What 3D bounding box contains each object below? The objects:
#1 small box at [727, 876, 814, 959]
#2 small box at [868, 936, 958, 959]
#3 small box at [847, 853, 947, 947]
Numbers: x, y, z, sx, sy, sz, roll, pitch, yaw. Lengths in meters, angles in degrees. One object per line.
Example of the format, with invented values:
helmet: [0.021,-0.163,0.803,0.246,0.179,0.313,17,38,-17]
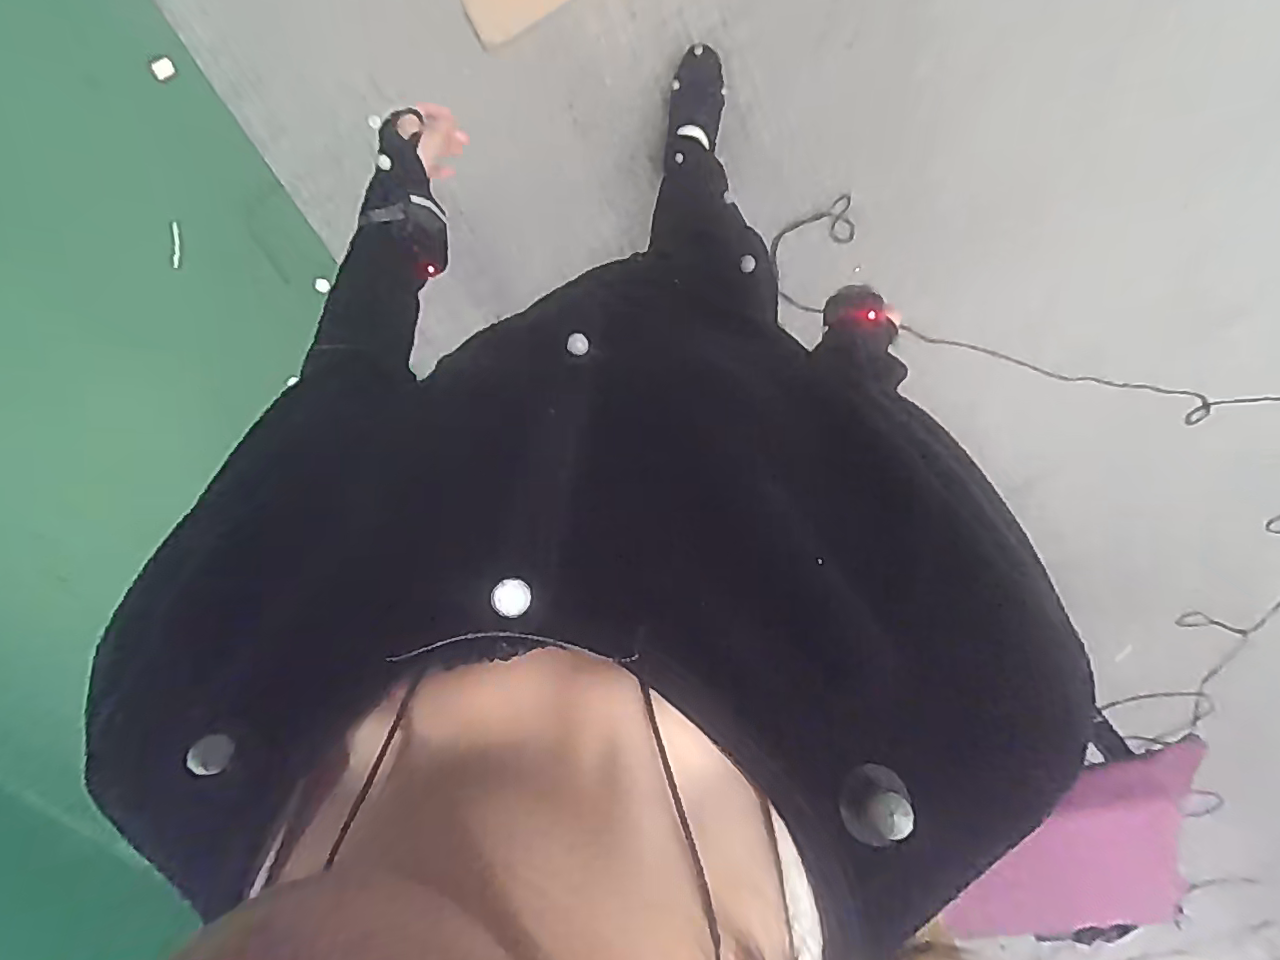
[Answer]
small box: [0.328,1.129,1.363,0.168,0.176,0.179,-19,120,13]
small box: [0.613,1.106,1.151,0.179,0.176,0.168,-19,120,13]
small box: [0.616,1.022,1.292,0.168,0.176,0.179,-22,120,14]
